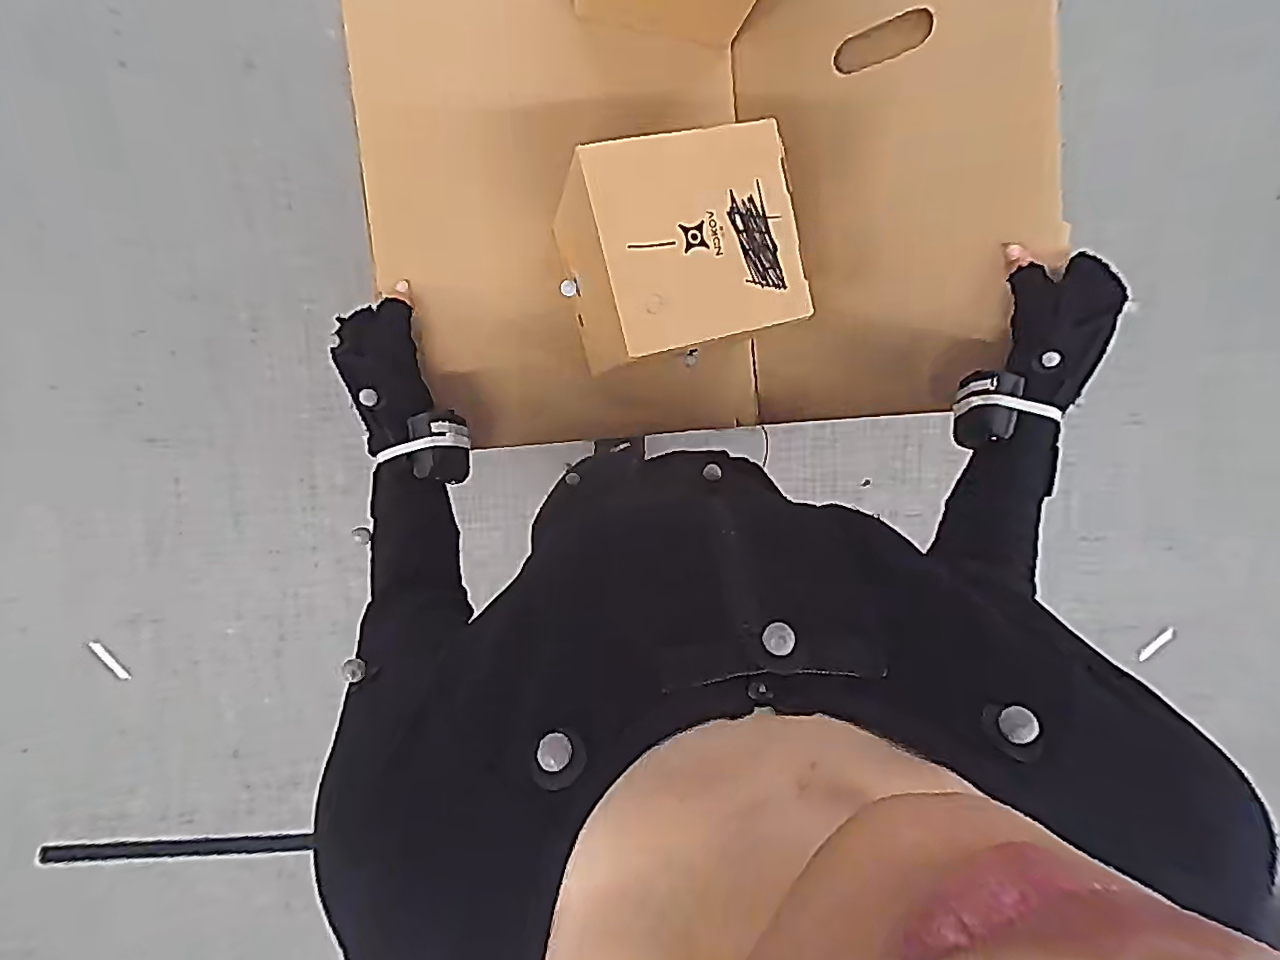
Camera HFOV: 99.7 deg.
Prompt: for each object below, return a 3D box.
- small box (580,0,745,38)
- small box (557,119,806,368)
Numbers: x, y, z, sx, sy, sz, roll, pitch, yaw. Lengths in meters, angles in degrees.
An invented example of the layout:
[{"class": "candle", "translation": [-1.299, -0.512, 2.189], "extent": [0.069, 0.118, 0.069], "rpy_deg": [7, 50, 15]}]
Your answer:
[{"class": "small box", "translation": [0.035, -0.563, 0.503], "extent": [0.179, 0.176, 0.168], "rpy_deg": [-1, 95, -16]}, {"class": "small box", "translation": [0.030, -0.215, 0.528], "extent": [0.179, 0.176, 0.168], "rpy_deg": [-16, 98, -13]}]
